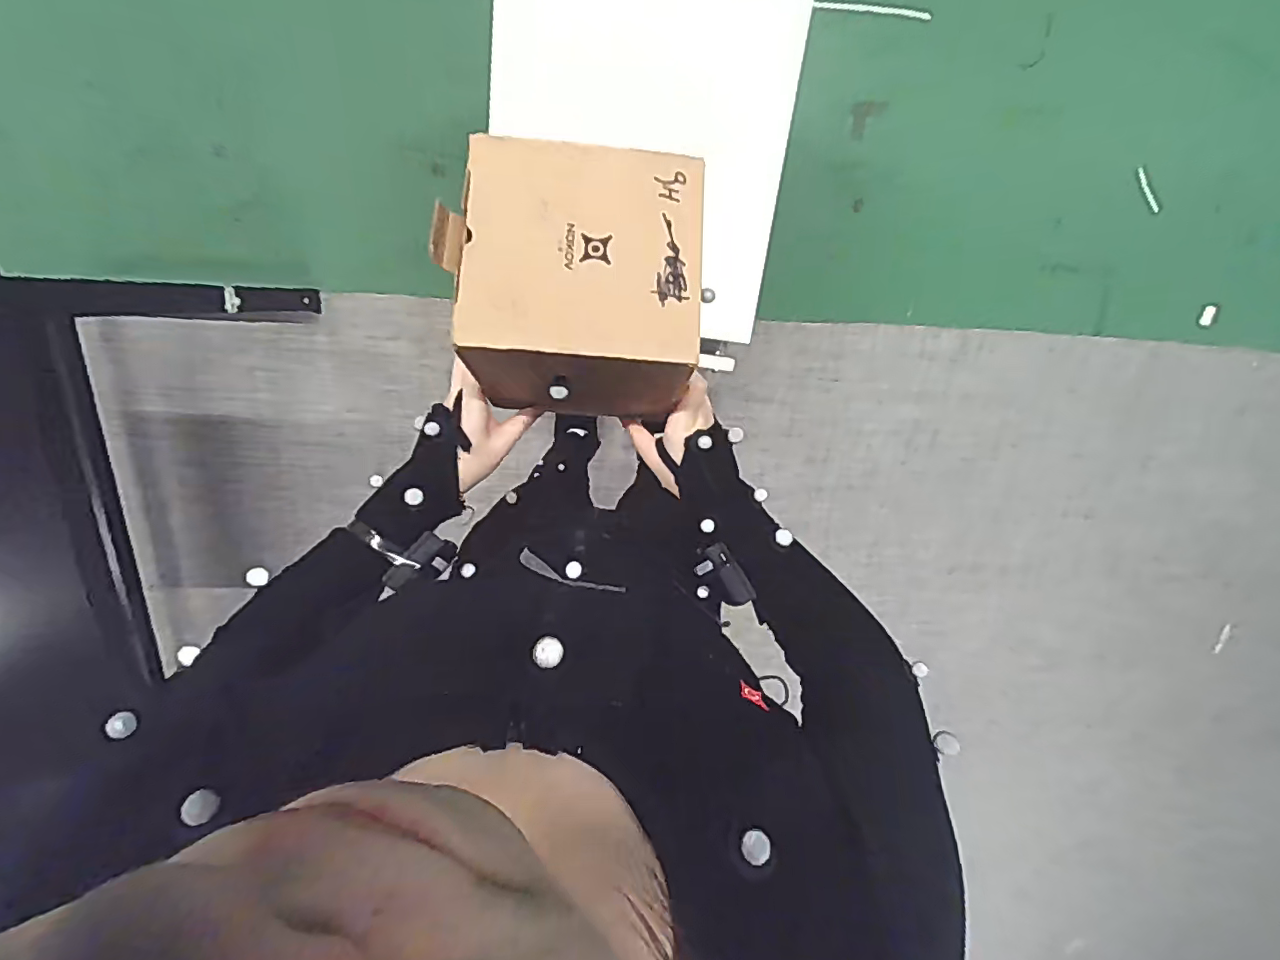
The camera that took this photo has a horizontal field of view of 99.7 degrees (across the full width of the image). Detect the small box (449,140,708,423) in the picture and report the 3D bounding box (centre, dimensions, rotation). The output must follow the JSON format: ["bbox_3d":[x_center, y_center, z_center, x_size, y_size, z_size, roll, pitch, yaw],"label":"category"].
[{"bbox_3d":[-0.045,-0.150,0.463,0.179,0.176,0.168,3,82,-4],"label":"small box"}]
